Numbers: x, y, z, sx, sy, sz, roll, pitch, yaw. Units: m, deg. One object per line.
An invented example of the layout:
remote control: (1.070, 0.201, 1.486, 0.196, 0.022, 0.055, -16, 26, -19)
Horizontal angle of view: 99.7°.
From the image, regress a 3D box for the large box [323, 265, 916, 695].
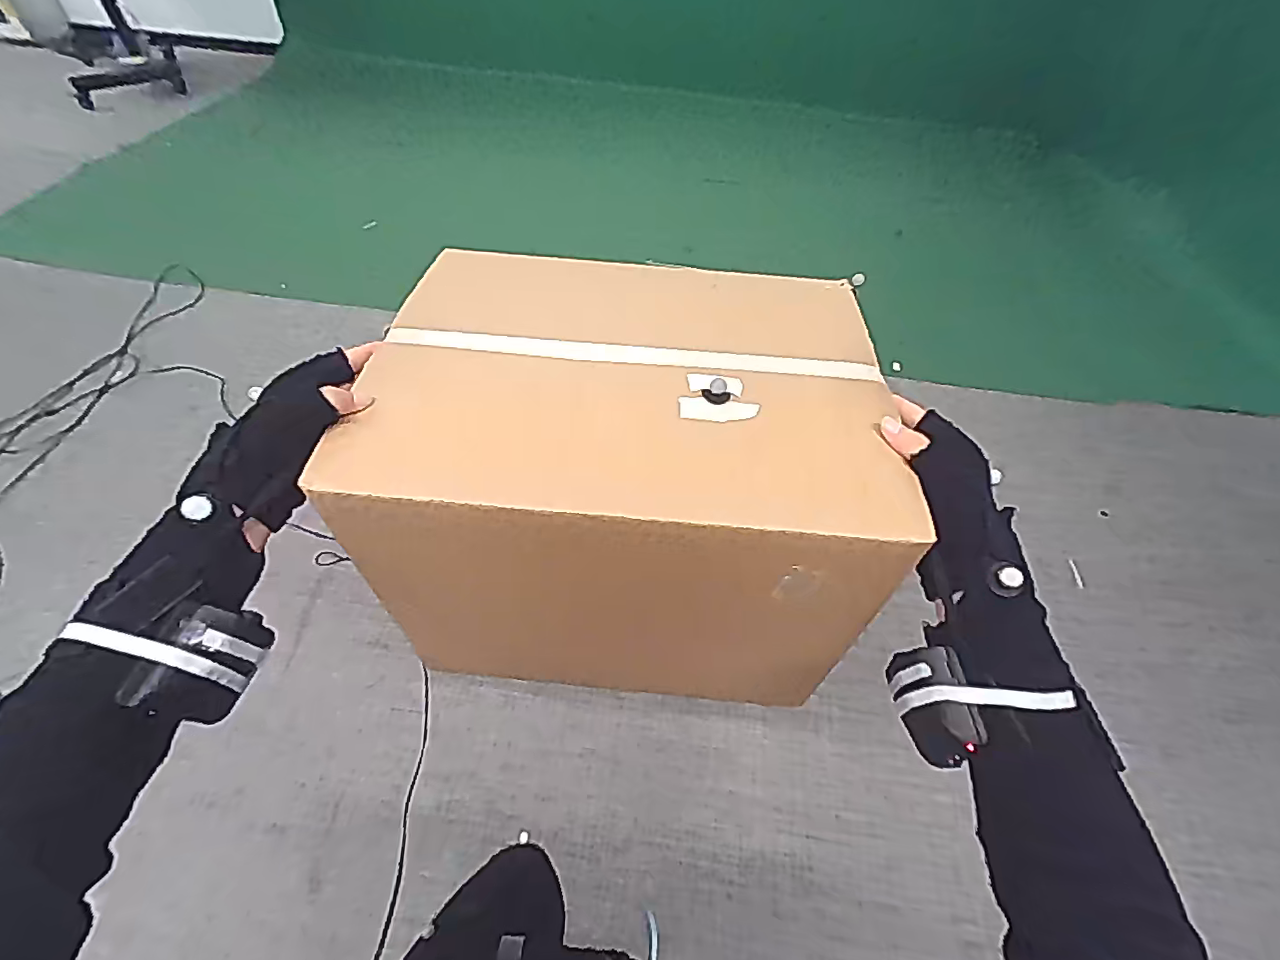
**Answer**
large box: (-0.013, 0.007, 0.564, 0.408, 0.320, 0.320, 5, 50, 1)
